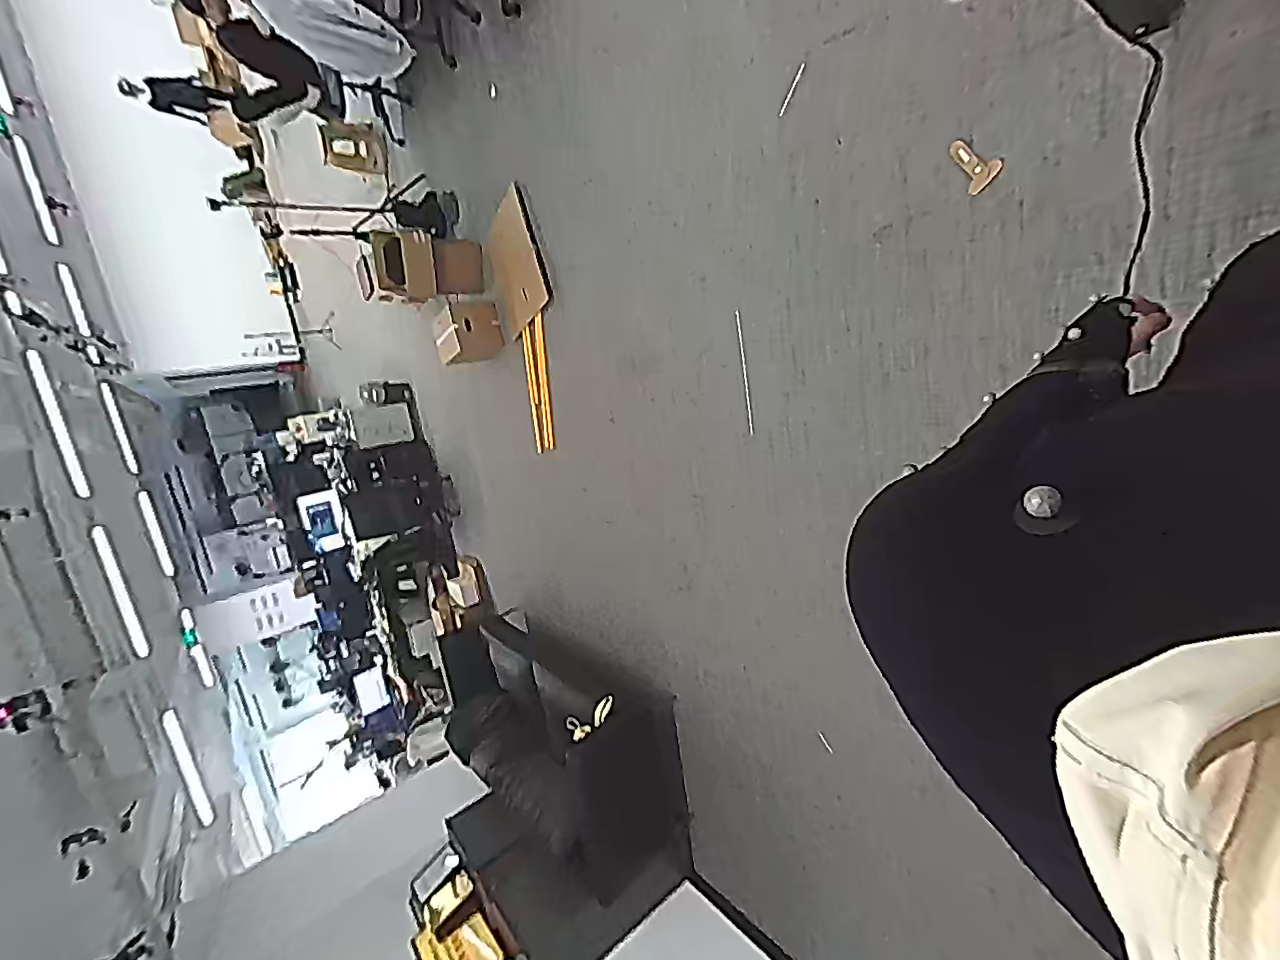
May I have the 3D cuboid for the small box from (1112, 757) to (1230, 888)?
[{"bbox_3d":[1.292,0.818,1.315,0.179,0.176,0.168,12,114,52],"label":"small box"}]
